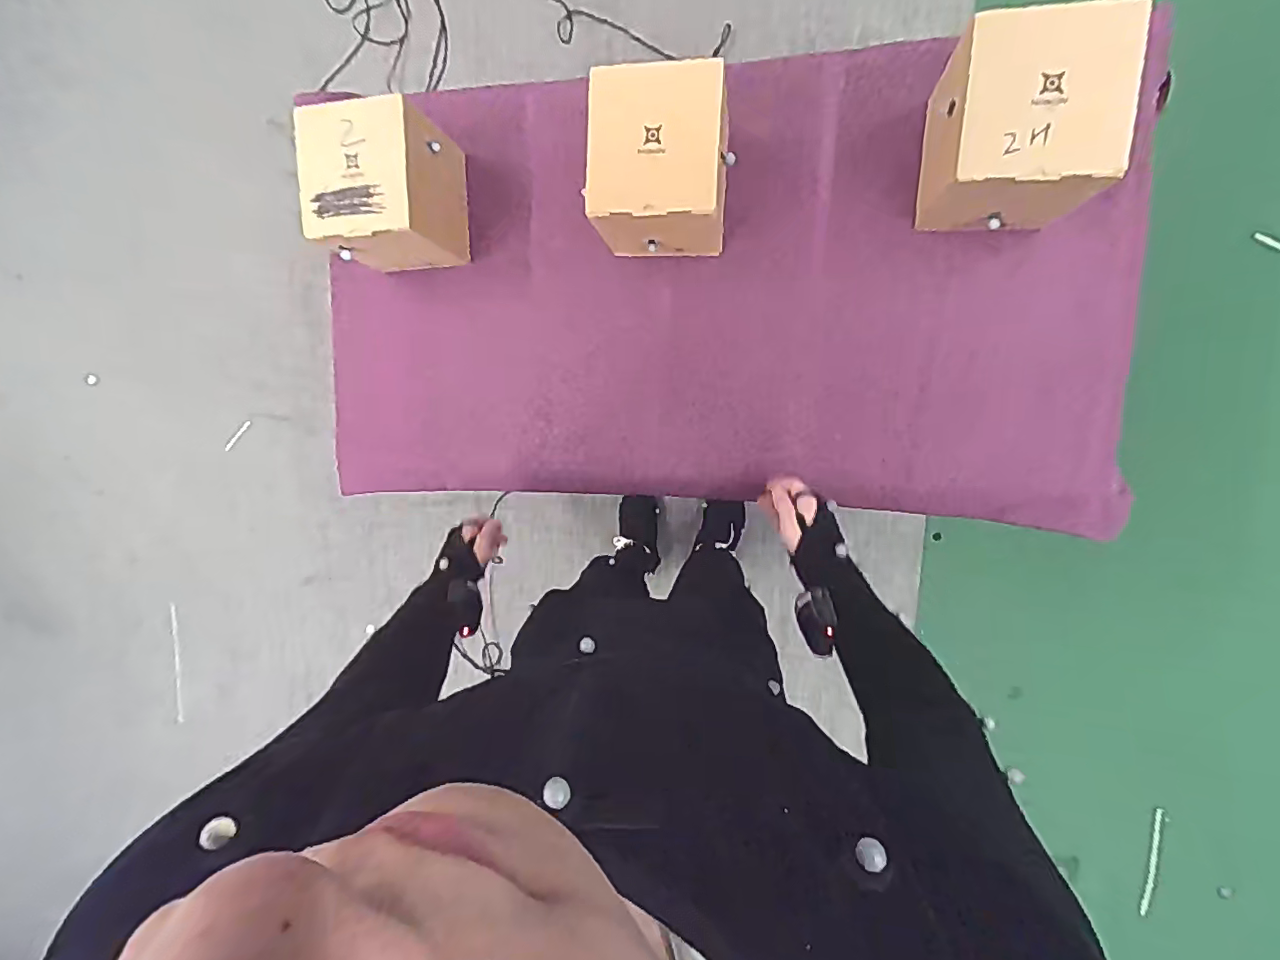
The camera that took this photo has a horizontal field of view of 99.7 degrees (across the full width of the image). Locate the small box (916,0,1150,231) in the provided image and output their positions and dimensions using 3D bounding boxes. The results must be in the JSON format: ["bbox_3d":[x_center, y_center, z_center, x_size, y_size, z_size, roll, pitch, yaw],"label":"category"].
[{"bbox_3d":[0.451,-0.421,0.653,0.168,0.176,0.179,5,98,12],"label":"small box"}]

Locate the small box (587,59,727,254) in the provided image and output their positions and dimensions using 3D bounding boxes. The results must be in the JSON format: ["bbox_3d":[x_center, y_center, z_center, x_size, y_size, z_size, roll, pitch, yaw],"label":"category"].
[{"bbox_3d":[0.030,-0.423,0.733,0.168,0.176,0.179,3,98,9],"label":"small box"}]
